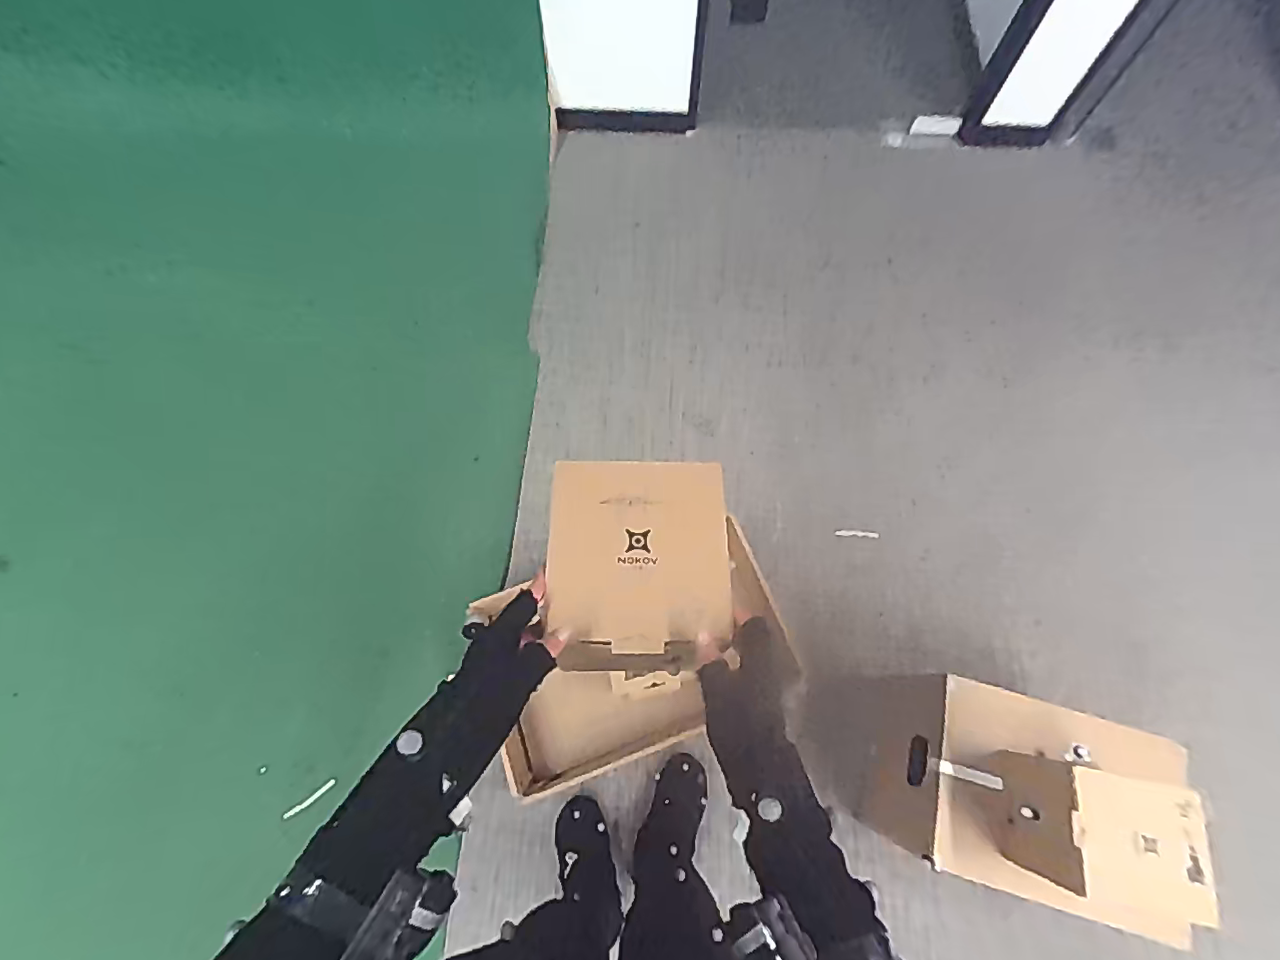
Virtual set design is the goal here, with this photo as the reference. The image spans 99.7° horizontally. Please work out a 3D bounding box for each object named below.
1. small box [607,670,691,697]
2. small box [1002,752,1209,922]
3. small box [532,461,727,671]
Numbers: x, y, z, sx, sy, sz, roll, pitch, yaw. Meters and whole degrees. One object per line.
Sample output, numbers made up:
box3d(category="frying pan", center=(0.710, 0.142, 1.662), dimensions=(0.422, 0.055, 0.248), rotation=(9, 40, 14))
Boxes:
box3d(category="small box", center=(0.009, 0.359, 1.164), dimensions=(0.168, 0.176, 0.179), rotation=(-12, 68, -4))
box3d(category="small box", center=(0.682, 0.523, 0.822), dimensions=(0.179, 0.176, 0.168), rotation=(10, 70, 4))
box3d(category="small box", center=(-0.010, 0.096, 0.553), dimensions=(0.168, 0.176, 0.179), rotation=(0, 62, -2))
